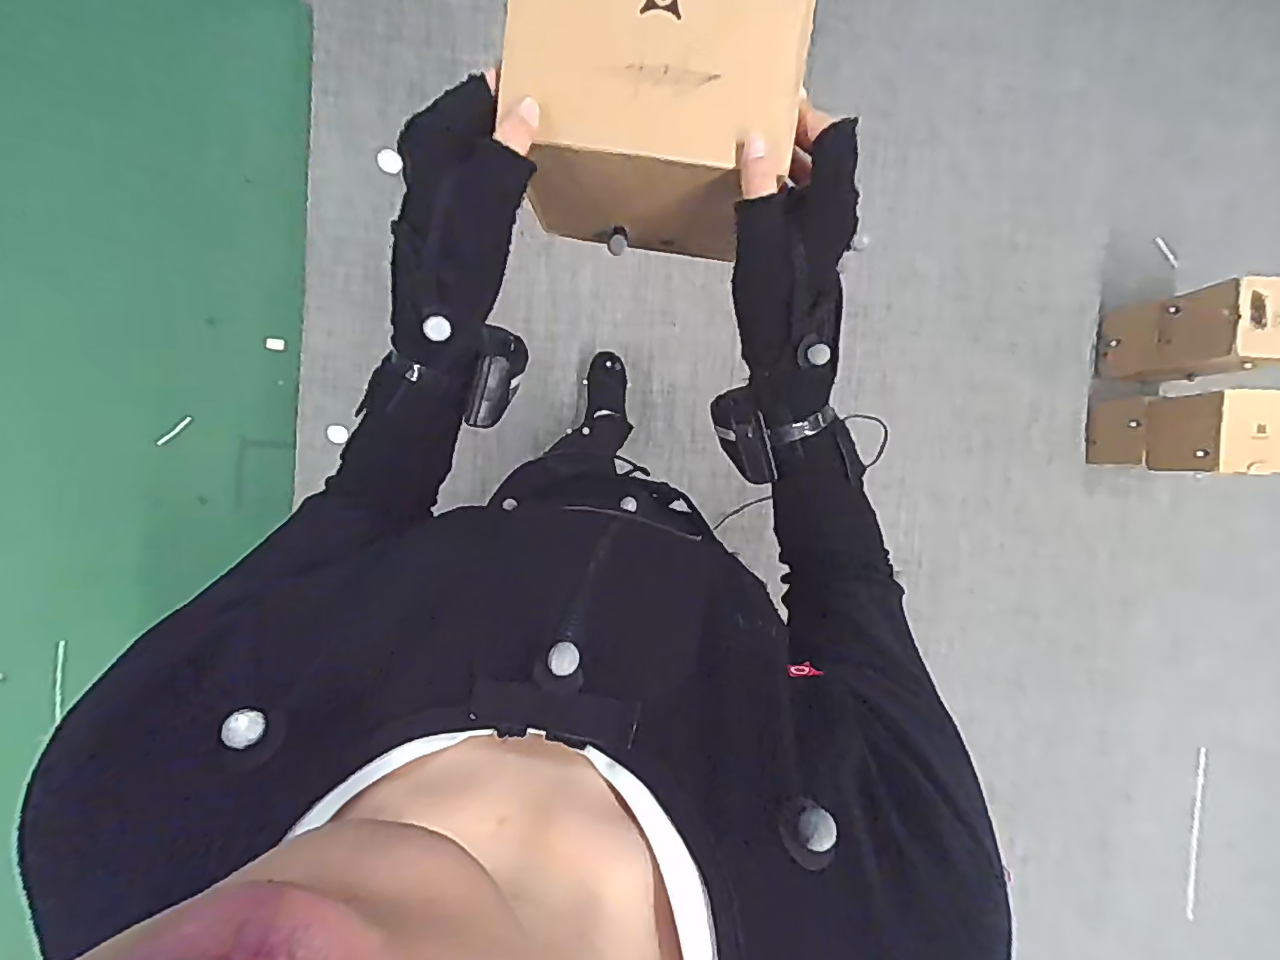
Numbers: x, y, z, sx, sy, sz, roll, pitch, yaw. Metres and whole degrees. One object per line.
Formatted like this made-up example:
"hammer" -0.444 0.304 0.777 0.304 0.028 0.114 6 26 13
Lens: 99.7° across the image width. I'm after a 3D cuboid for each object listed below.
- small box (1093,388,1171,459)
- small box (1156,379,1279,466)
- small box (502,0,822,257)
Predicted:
"small box" 1.285 -0.135 1.342 0.179 0.176 0.168 2 93 1
"small box" 1.285 -0.121 1.179 0.168 0.176 0.179 1 93 2
"small box" 0.015 -0.275 0.368 0.168 0.176 0.179 8 97 -1
